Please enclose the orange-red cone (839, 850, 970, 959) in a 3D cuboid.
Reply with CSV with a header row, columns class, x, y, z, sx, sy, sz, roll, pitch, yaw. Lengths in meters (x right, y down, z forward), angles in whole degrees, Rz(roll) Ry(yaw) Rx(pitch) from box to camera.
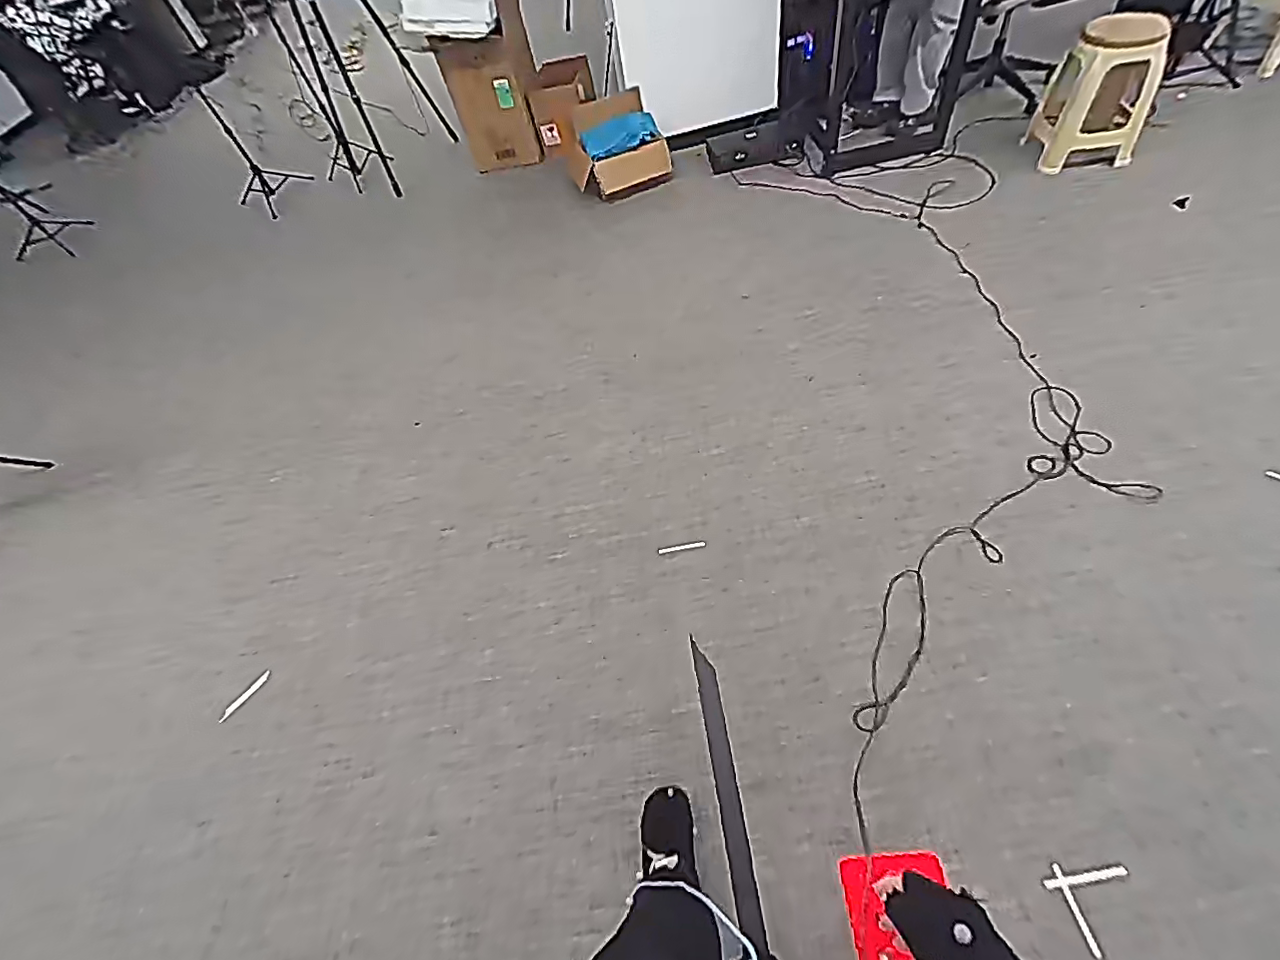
class,x,y,z,sx,sy,sz,roll,pitch,yaw
orange-red cone,0.471,0.735,0.895,0.199,0.360,0.198,-7,55,6
